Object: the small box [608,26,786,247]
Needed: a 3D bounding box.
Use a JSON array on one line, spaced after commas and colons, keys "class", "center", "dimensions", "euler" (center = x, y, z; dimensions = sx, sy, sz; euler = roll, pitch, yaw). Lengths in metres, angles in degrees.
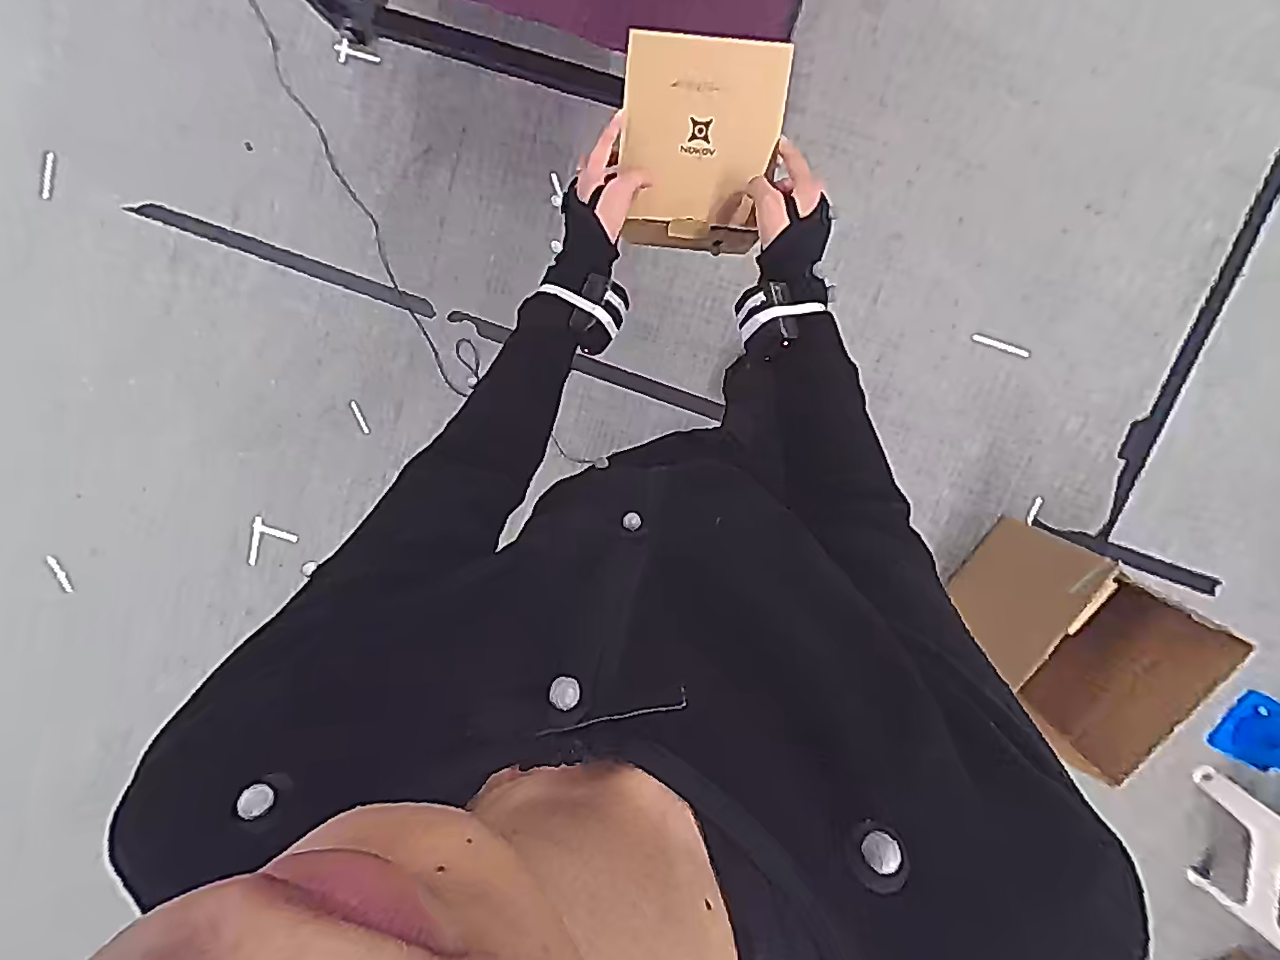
[{"class": "small box", "center": [0.061, -0.381, 0.635], "dimensions": [0.168, 0.176, 0.179], "euler": [6, 105, 2]}]
